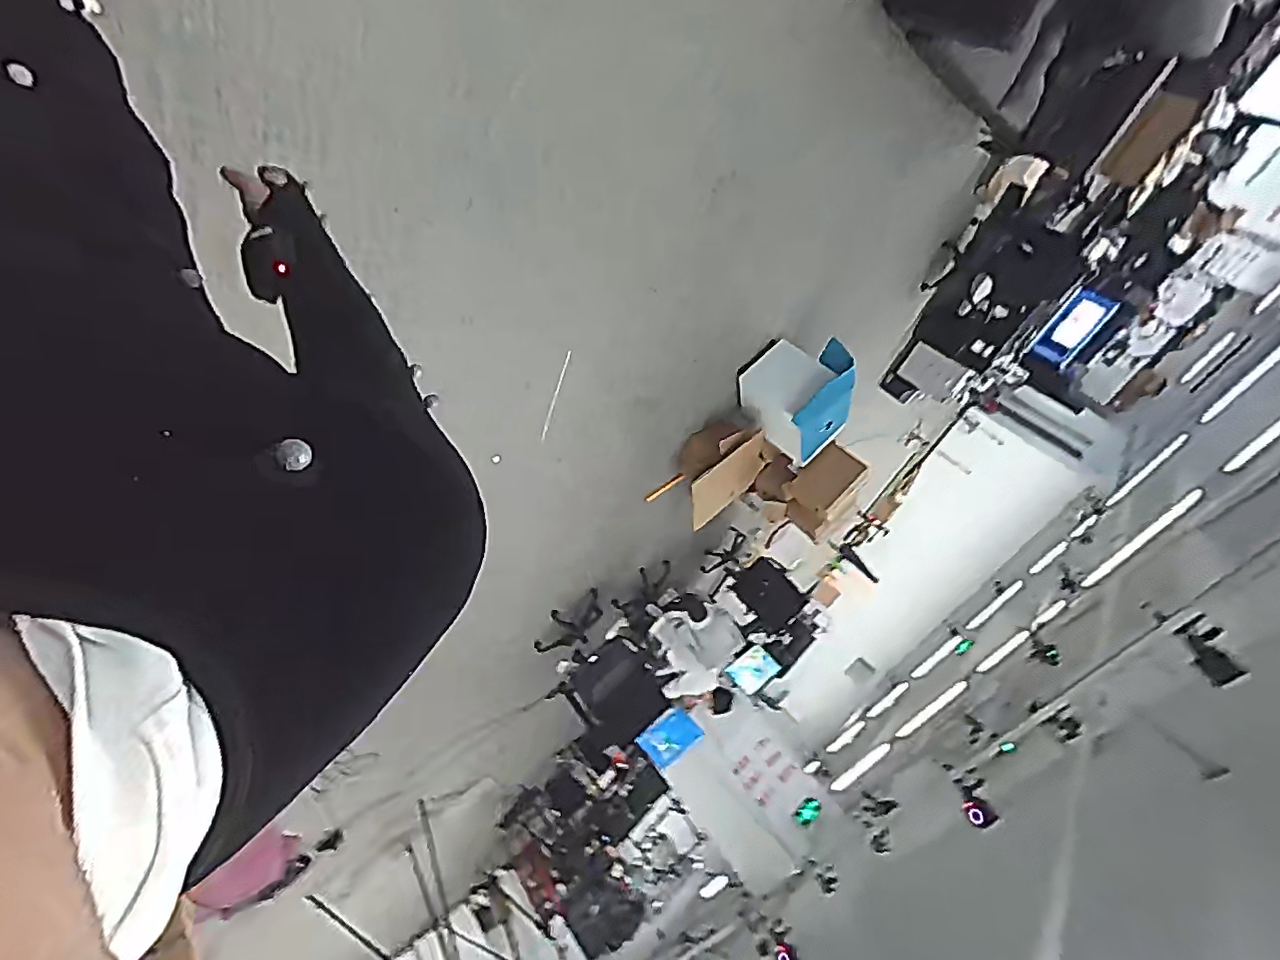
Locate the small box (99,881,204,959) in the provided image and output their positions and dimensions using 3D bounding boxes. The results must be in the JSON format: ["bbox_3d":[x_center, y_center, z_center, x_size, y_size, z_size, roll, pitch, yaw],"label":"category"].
[{"bbox_3d":[-1.337,1.252,1.484,0.168,0.176,0.179,-22,146,-41],"label":"small box"}]

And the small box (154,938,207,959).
[{"bbox_3d":[-1.225,1.343,1.400,0.168,0.176,0.179,-20,143,-41],"label":"small box"}]
